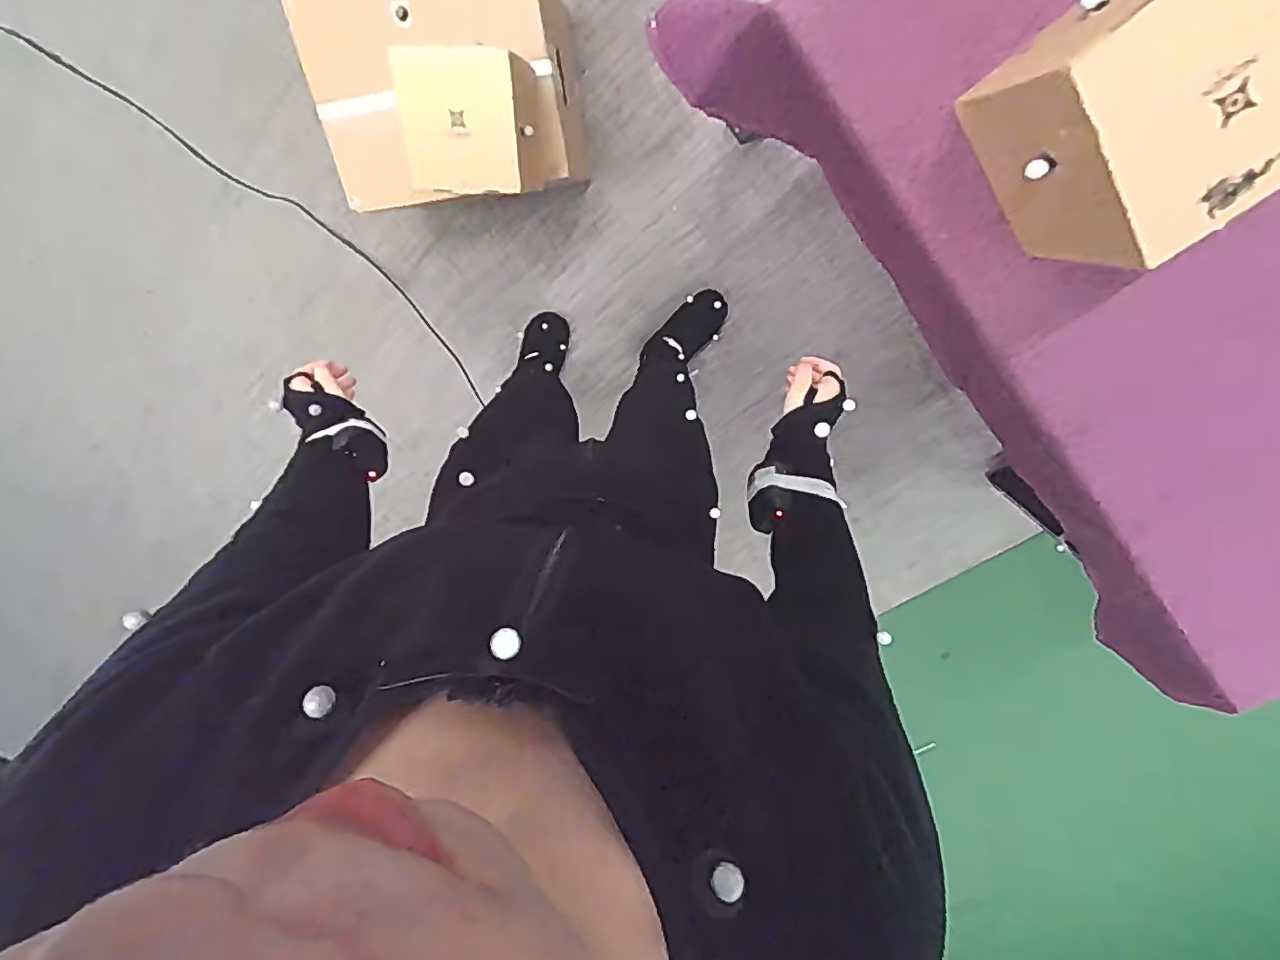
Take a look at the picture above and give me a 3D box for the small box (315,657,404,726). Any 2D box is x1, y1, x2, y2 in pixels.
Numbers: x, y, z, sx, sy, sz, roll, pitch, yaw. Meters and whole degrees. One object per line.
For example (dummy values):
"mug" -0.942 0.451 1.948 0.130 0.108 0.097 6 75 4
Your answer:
"small box" -0.941 0.739 1.834 0.168 0.176 0.179 -30 112 16

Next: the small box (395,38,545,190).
"small box" -0.246 -0.551 0.828 0.168 0.176 0.179 2 122 2

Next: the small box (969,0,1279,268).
"small box" 0.418 -0.305 0.449 0.168 0.176 0.179 -35 110 19

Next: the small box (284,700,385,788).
"small box" -0.945 0.815 1.688 0.168 0.176 0.179 -29 114 17
